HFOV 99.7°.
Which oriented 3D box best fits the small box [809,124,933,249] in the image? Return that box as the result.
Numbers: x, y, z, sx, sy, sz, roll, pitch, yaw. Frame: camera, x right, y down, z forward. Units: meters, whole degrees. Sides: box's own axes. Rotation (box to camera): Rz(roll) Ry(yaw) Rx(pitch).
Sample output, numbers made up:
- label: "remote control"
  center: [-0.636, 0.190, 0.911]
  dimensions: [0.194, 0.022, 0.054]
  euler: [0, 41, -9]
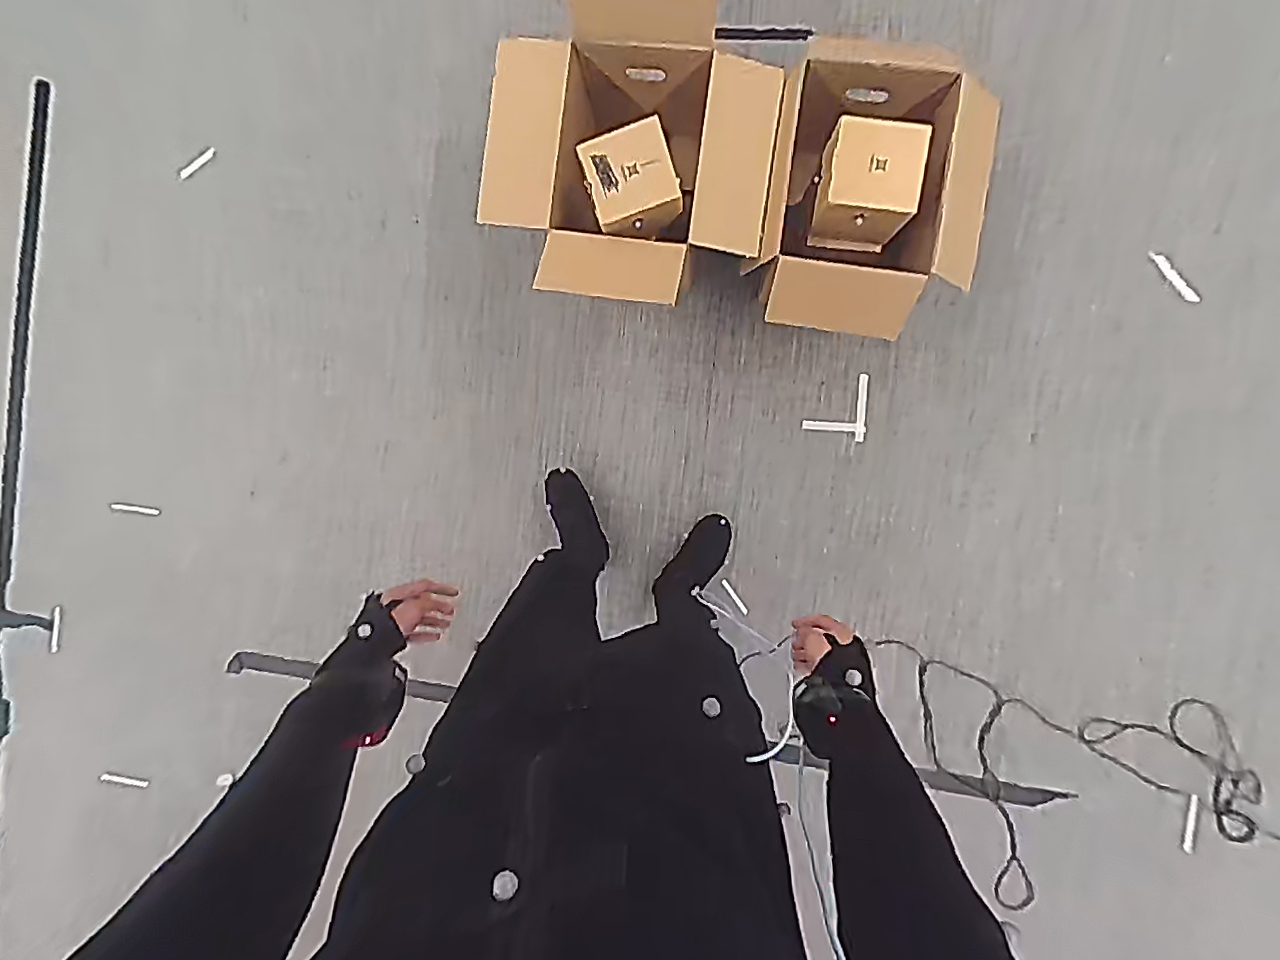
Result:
- label: "small box"
  center: [0.468, -0.596, 1.120]
  dimensions: [0.179, 0.176, 0.168]
  euler: [9, 94, 5]
